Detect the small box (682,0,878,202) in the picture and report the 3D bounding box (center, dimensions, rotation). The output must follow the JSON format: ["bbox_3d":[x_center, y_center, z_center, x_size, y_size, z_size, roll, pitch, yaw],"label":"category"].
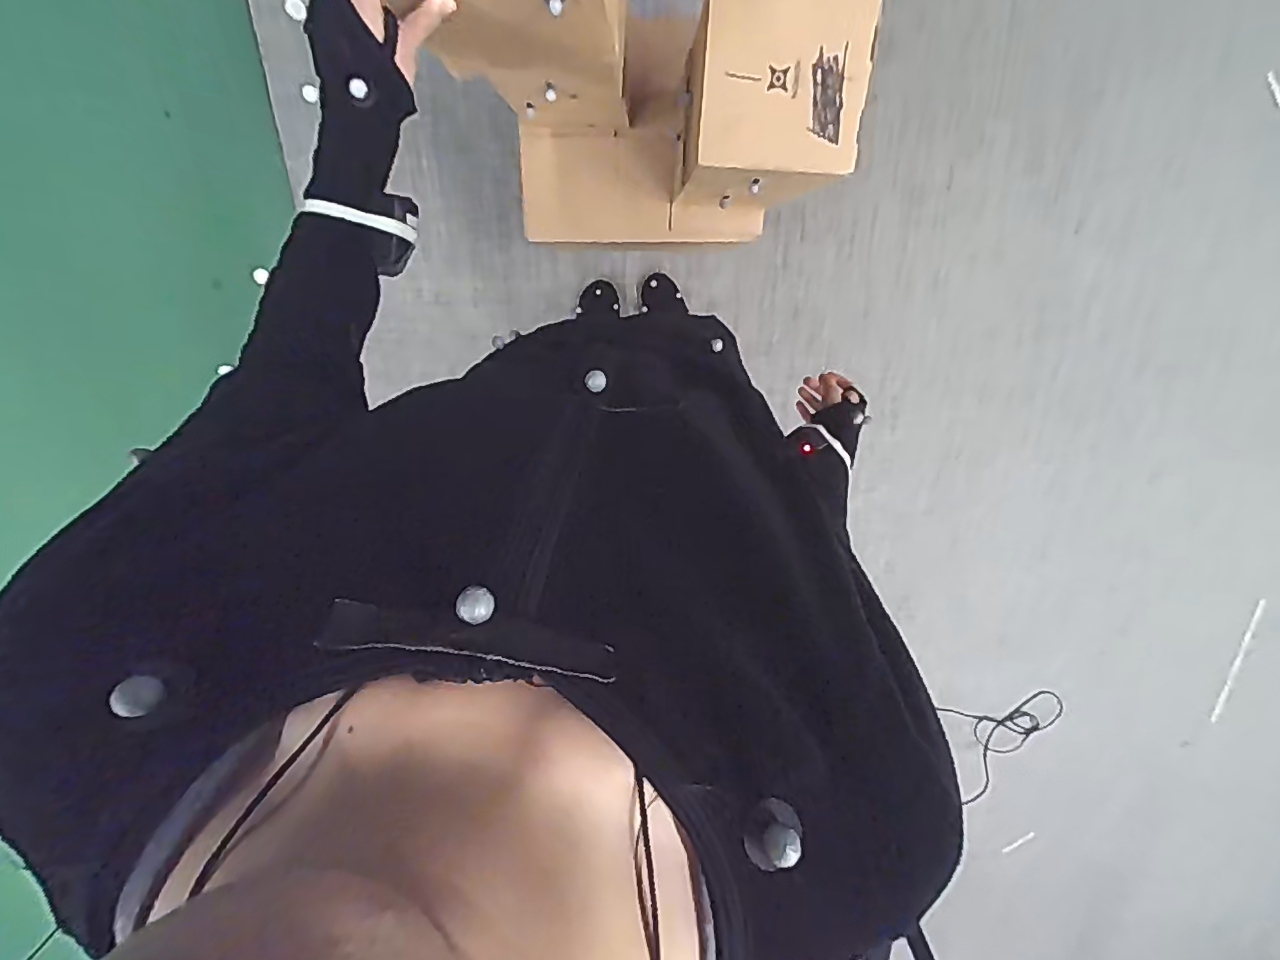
[{"bbox_3d":[0.149,-0.436,0.645,0.179,0.176,0.168,3,110,-1],"label":"small box"}]

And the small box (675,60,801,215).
[{"bbox_3d":[0.145,-0.491,0.799,0.179,0.176,0.168,3,112,0],"label":"small box"}]

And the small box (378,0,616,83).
[{"bbox_3d":[-0.121,-0.470,0.460,0.179,0.176,0.168,-4,107,3],"label":"small box"}]

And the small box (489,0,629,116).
[{"bbox_3d":[-0.101,-0.544,0.611,0.168,0.176,0.179,6,110,0],"label":"small box"}]
